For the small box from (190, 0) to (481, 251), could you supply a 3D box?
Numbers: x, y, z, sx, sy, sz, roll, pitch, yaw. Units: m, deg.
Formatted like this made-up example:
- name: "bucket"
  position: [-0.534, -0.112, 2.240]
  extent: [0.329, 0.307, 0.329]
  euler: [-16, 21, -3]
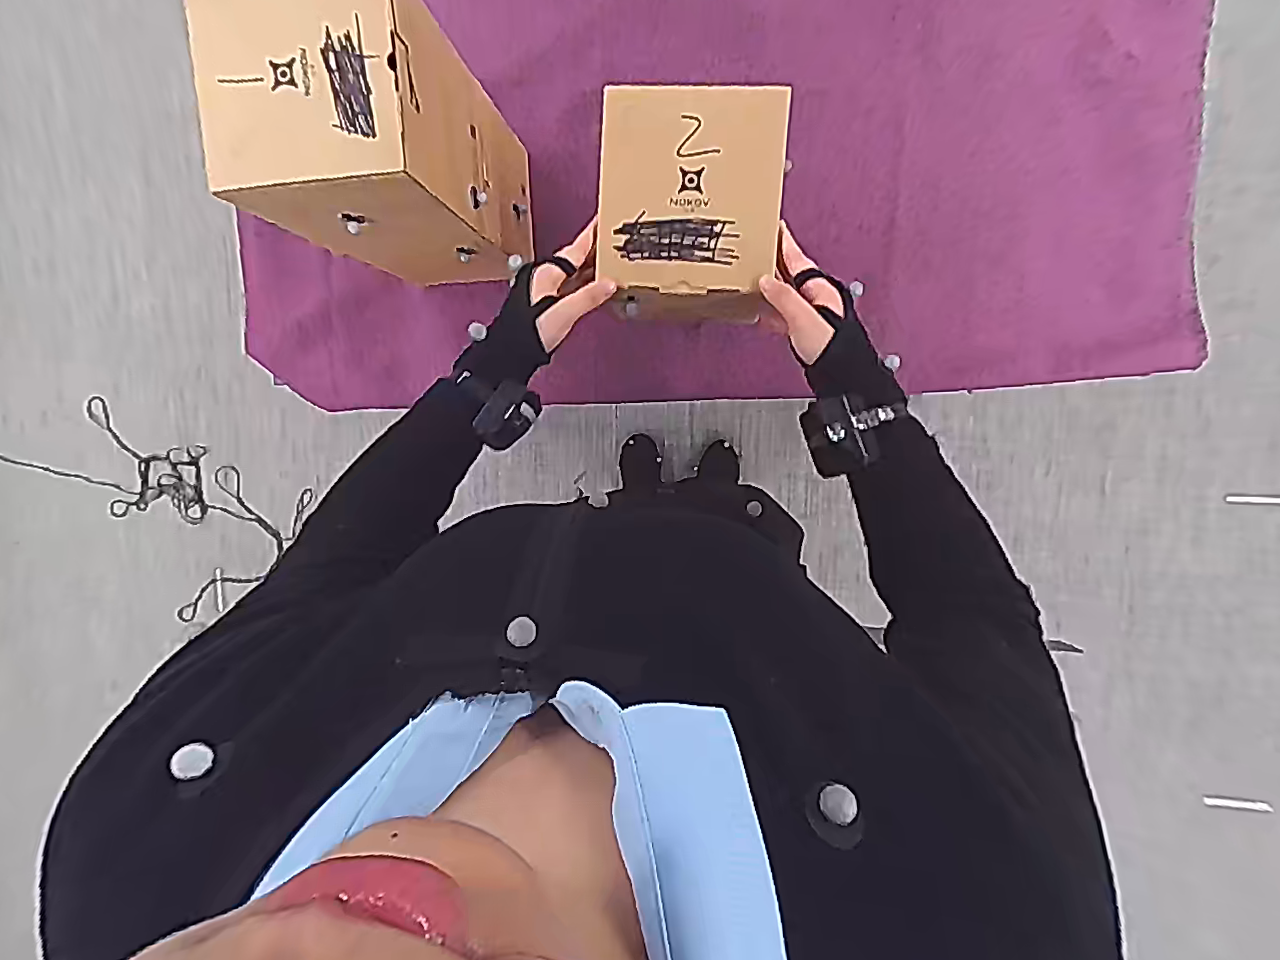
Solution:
- name: "small box"
  position: [-0.261, -0.329, 0.508]
  extent: [0.179, 0.176, 0.168]
  euler: [-2, 96, 7]

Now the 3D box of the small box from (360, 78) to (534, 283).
- name: "small box"
  position: [-0.244, -0.351, 0.670]
  extent: [0.179, 0.176, 0.168]
  euler: [-2, 96, 6]
